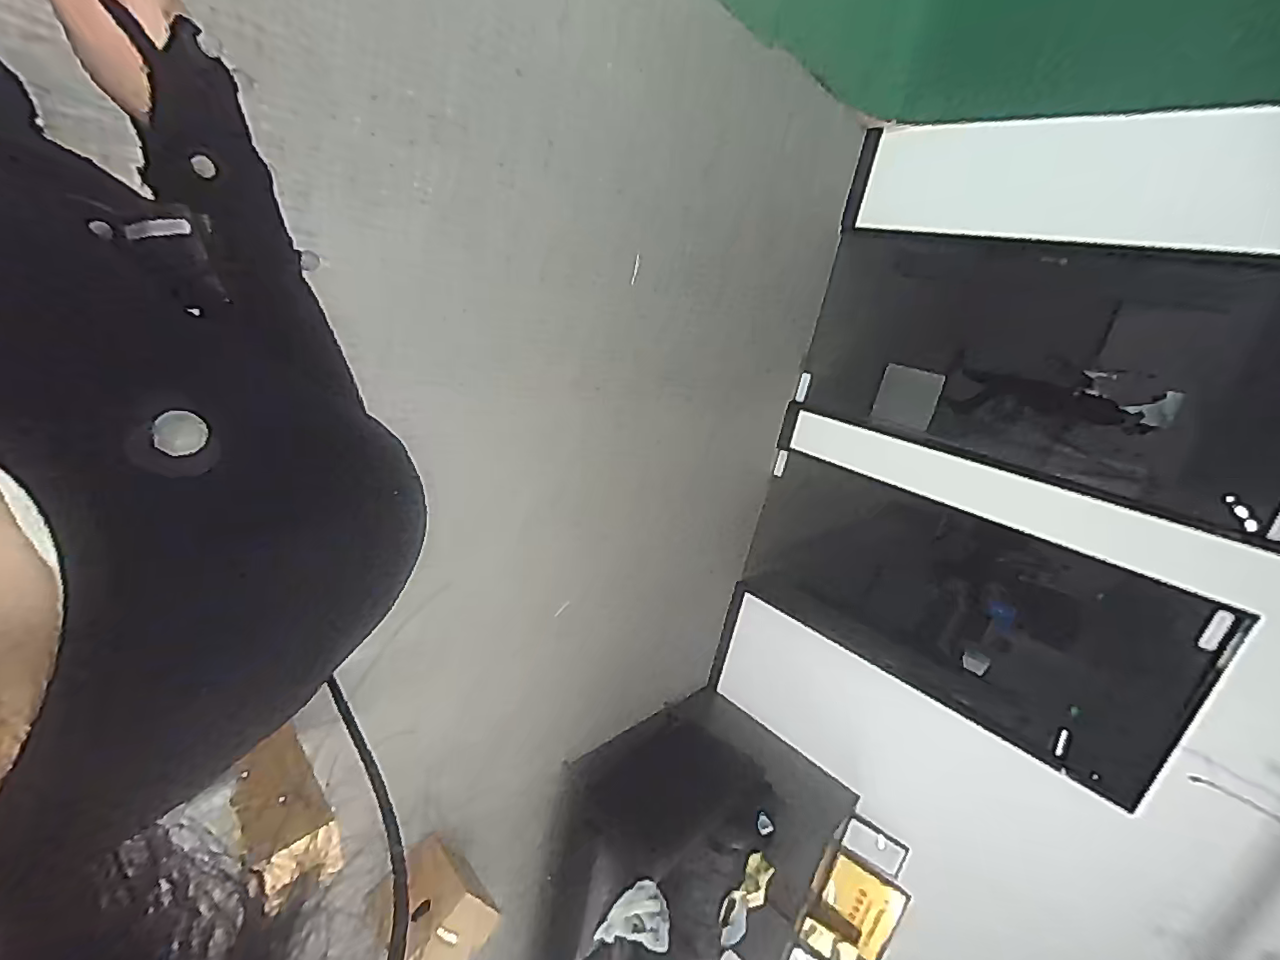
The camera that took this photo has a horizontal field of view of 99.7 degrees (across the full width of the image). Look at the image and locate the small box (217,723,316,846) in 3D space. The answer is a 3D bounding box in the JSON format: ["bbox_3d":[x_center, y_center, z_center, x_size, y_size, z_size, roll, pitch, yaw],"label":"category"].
[{"bbox_3d":[-0.963,0.773,1.390,0.179,0.176,0.168,-15,123,-46],"label":"small box"}]

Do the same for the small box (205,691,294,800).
[{"bbox_3d":[-1.080,0.724,1.494,0.179,0.176,0.168,-10,119,-46],"label":"small box"}]
